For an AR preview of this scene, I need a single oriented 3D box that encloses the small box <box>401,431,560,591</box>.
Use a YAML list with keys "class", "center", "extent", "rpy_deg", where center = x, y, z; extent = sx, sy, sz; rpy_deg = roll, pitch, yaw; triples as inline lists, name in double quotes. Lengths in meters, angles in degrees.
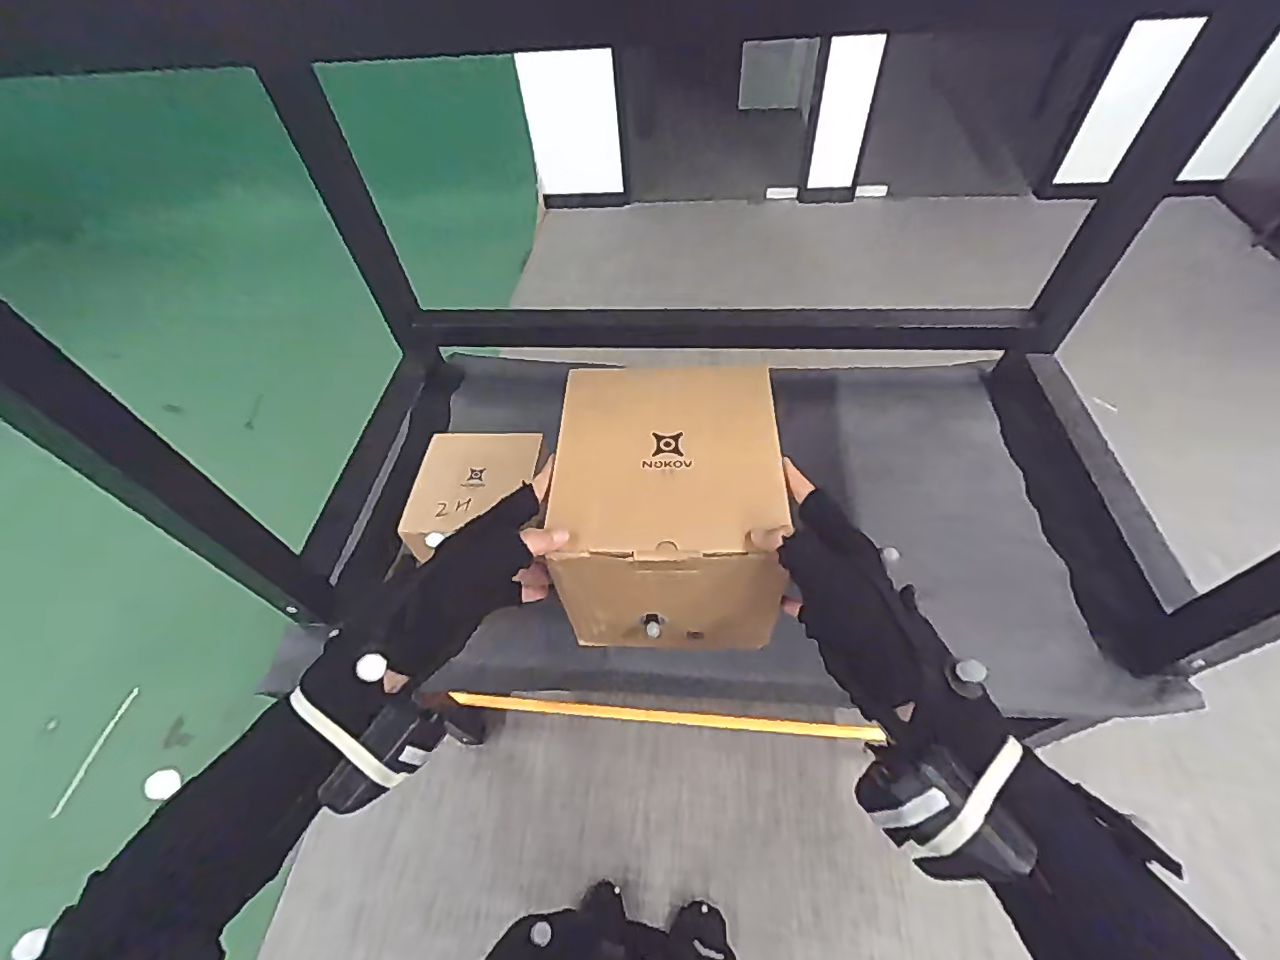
- class: "small box"
  center: [-0.220, 0.047, 0.804]
  extent: [0.168, 0.176, 0.179]
  rpy_deg: [0, 52, 5]
